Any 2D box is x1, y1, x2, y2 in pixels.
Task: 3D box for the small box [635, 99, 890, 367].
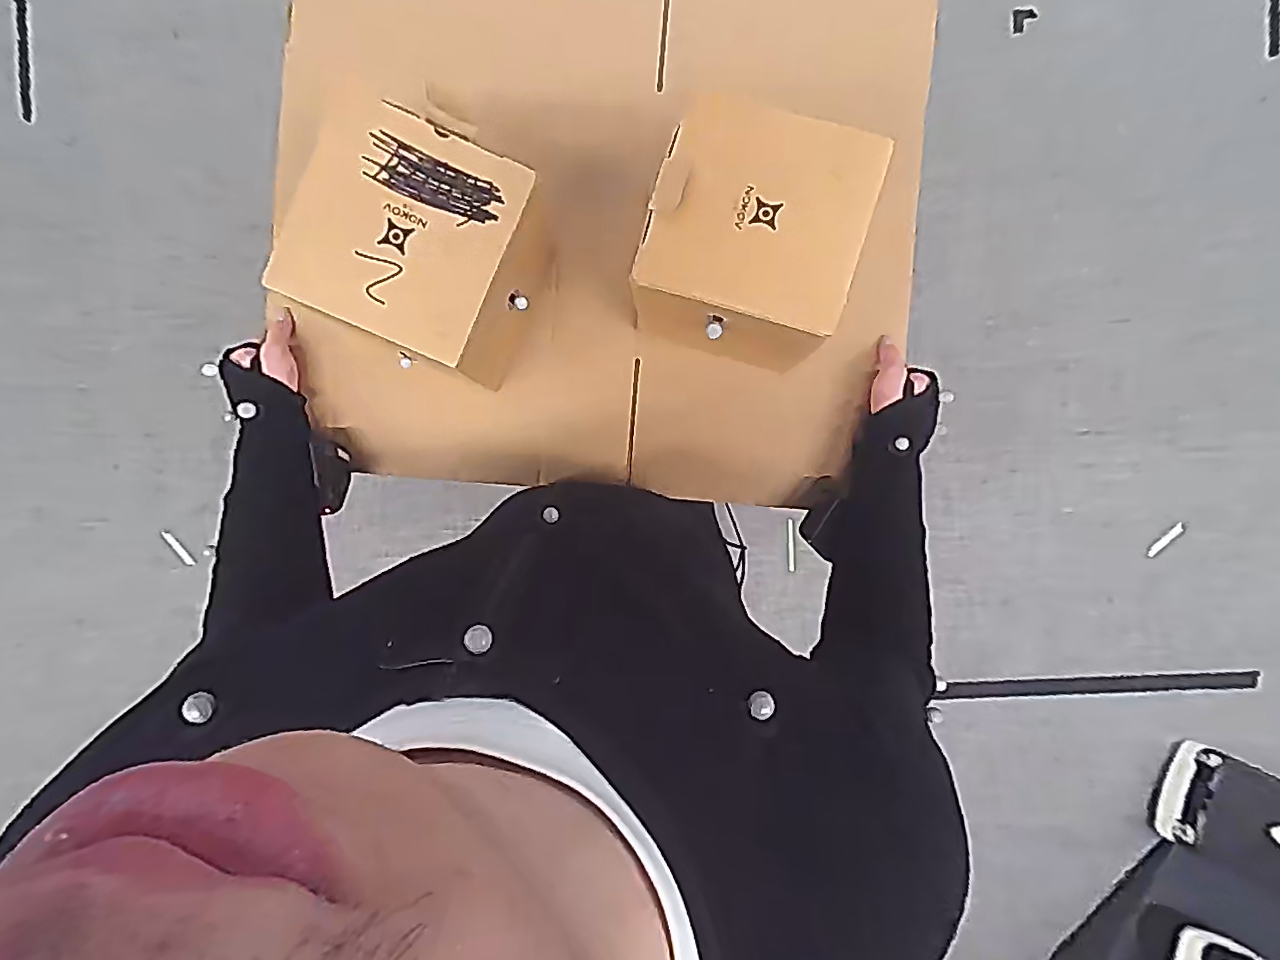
[{"bbox_3d":[0.107,-0.221,0.533,0.179,0.176,0.168,17,92,5],"label":"small box"}]
